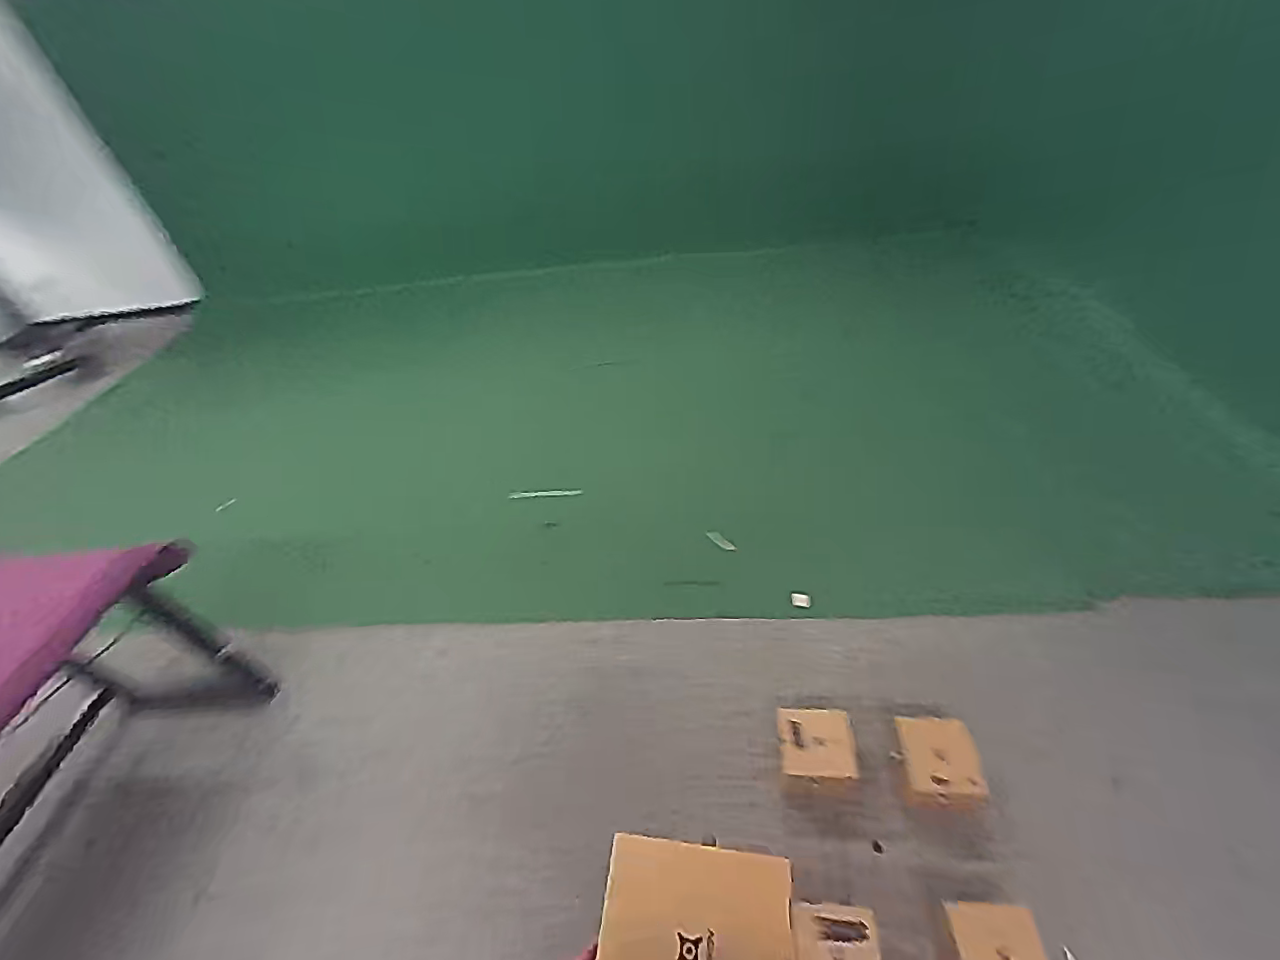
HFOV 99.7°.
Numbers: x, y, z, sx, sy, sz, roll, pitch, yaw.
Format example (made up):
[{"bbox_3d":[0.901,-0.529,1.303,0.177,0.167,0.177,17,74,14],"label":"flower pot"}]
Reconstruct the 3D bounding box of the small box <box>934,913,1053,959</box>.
[{"bbox_3d":[0.717,0.997,1.080,0.168,0.176,0.179,-2,43,7],"label":"small box"}]

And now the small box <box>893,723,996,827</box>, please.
[{"bbox_3d":[0.748,0.737,1.353,0.168,0.176,0.179,0,43,10],"label":"small box"}]

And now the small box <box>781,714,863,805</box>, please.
[{"bbox_3d":[0.464,0.731,1.410,0.179,0.176,0.168,-1,44,8],"label":"small box"}]
